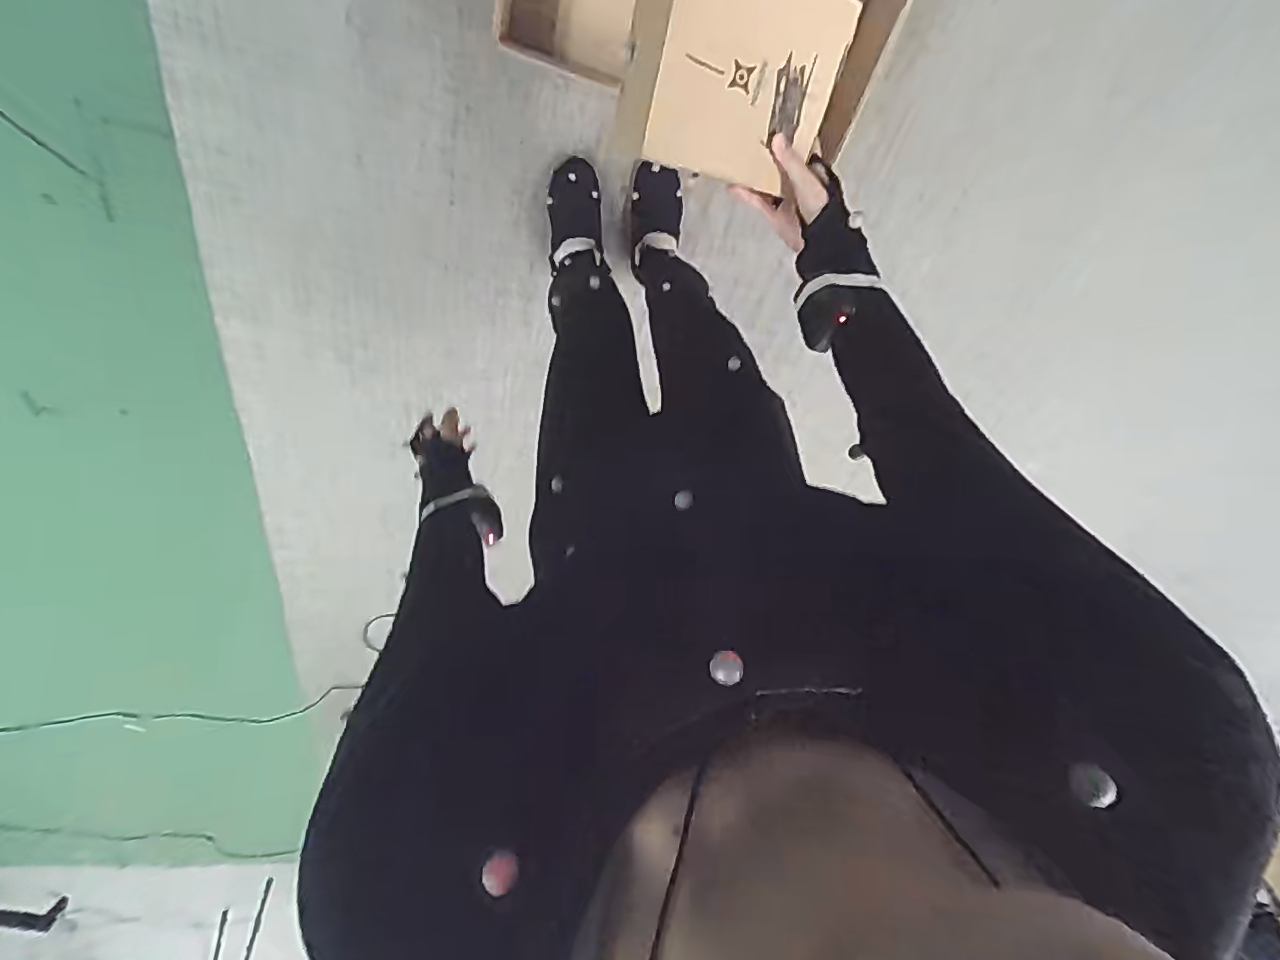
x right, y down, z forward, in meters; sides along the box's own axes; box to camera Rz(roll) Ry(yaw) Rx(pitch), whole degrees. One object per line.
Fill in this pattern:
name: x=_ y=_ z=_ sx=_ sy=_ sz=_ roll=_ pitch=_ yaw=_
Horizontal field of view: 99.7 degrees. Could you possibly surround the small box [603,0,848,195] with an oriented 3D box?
small box: x=0.072 y=-0.419 z=0.568 sx=0.179 sy=0.176 sz=0.168 roll=6 pitch=120 yaw=-18
